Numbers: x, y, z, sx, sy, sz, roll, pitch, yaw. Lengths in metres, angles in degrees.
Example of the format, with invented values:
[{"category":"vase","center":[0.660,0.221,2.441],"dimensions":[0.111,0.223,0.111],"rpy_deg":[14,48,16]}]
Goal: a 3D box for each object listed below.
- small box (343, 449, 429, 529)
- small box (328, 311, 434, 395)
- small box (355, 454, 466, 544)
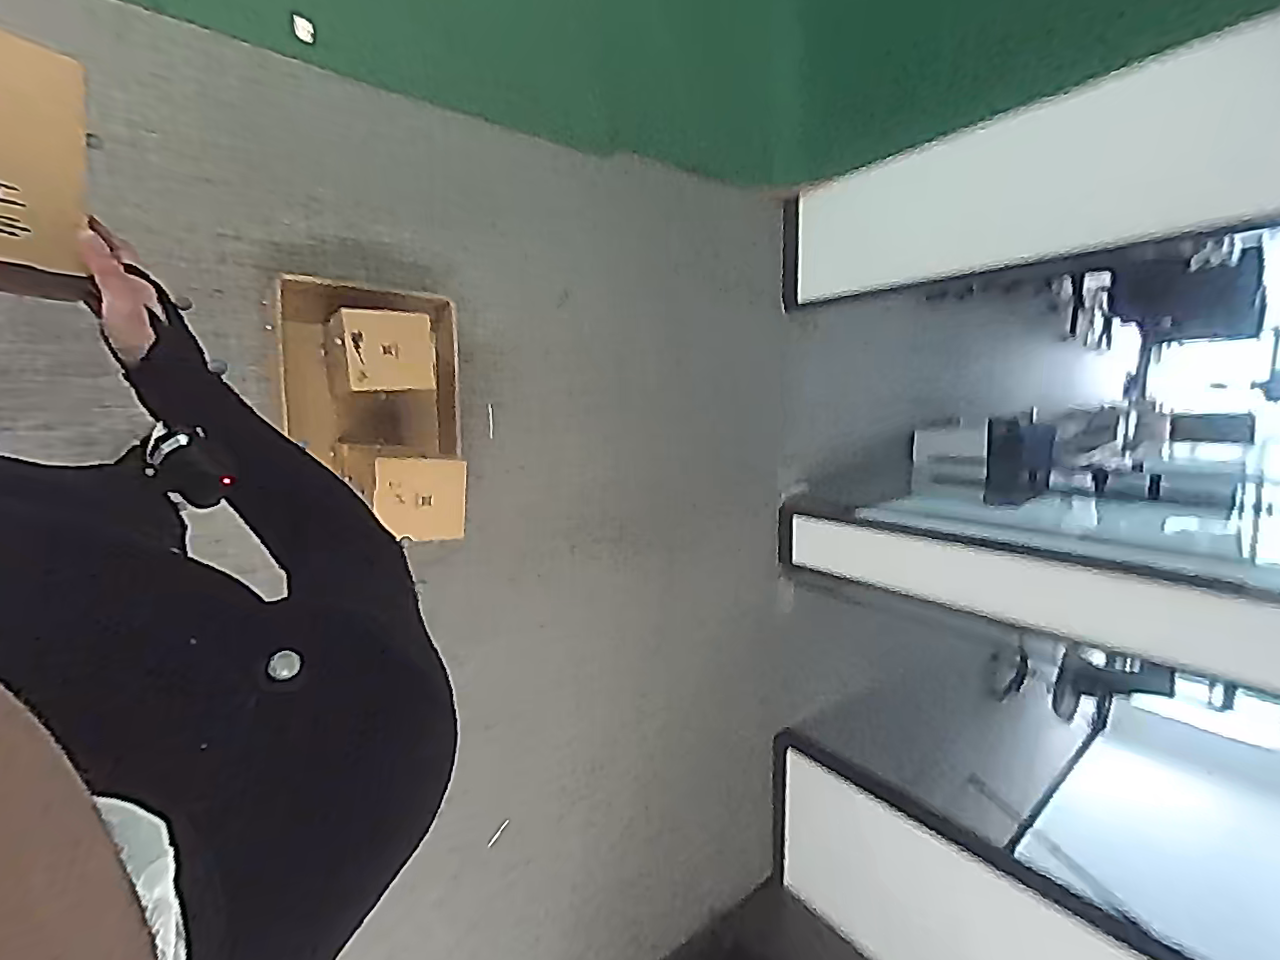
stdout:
[{"category":"small box","center":[-0.582,0.016,1.268],"dimensions":[0.179,0.176,0.168],"rpy_deg":[0,97,-37]},{"category":"small box","center":[-0.586,-0.280,1.222],"dimensions":[0.179,0.176,0.168],"rpy_deg":[-8,100,-38]},{"category":"small box","center":[-0.484,0.034,1.137],"dimensions":[0.179,0.176,0.168],"rpy_deg":[1,95,-37]}]
